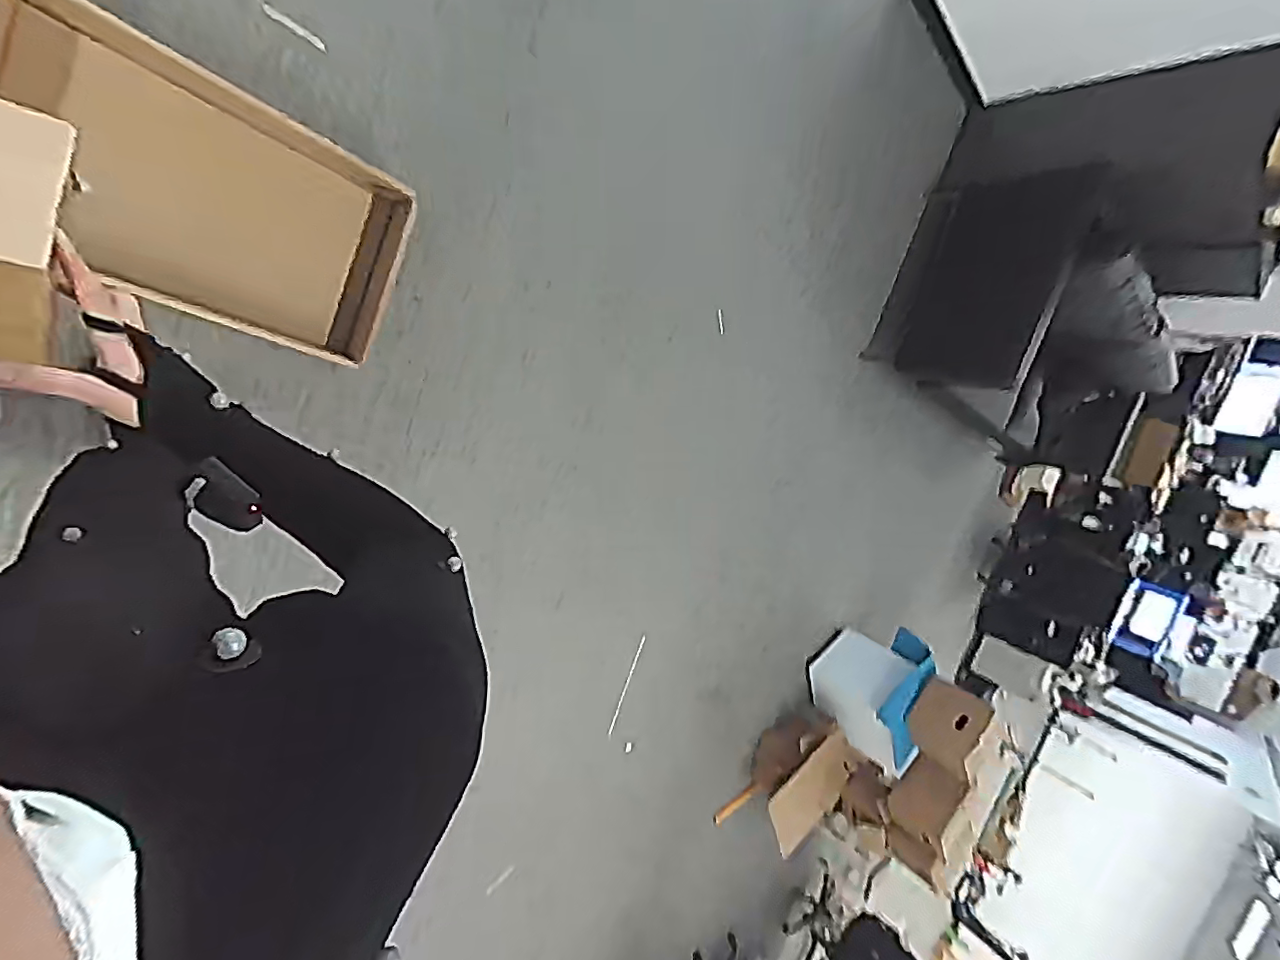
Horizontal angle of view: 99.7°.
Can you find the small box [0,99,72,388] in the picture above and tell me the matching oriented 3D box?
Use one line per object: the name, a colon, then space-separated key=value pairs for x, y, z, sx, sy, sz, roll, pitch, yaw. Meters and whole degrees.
small box: x=-0.573 y=-0.196 z=0.424 sx=0.168 sy=0.179 sz=0.176 roll=5 pitch=148 yaw=-45
